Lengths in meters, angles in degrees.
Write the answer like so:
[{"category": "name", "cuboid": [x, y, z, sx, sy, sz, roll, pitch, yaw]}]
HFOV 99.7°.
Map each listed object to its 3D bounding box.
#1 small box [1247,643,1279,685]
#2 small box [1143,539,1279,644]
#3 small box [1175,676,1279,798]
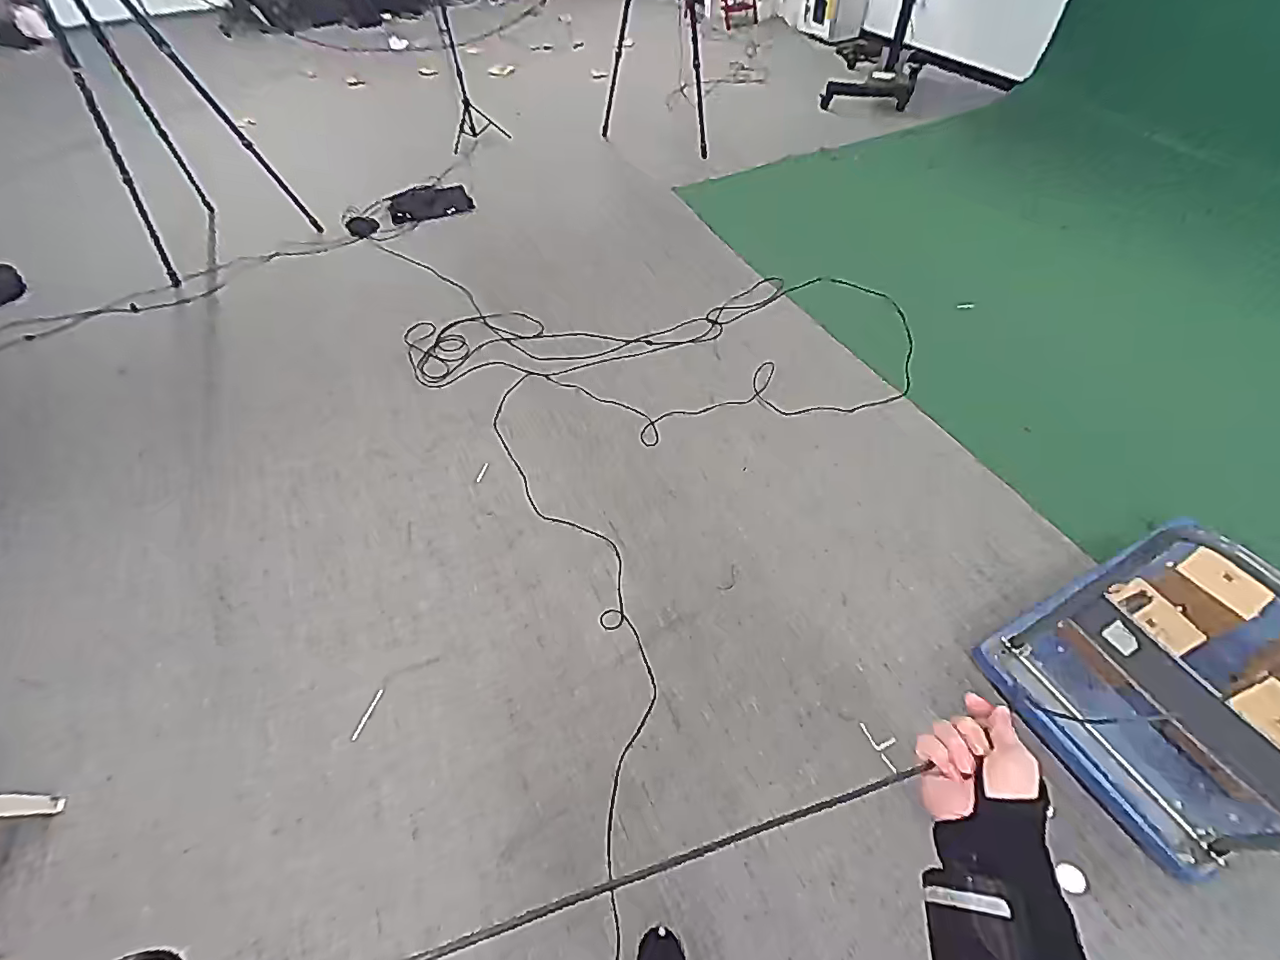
[{"category": "small box", "cuboid": [1.581, 0.453, 1.238, 0.179, 0.176, 0.168, -27, 55, -16]}, {"category": "small box", "cuboid": [1.450, 0.288, 1.375, 0.179, 0.176, 0.168, -27, 56, -16]}, {"category": "small box", "cuboid": [1.341, 0.558, 1.172, 0.179, 0.176, 0.168, -23, 54, -13]}]
